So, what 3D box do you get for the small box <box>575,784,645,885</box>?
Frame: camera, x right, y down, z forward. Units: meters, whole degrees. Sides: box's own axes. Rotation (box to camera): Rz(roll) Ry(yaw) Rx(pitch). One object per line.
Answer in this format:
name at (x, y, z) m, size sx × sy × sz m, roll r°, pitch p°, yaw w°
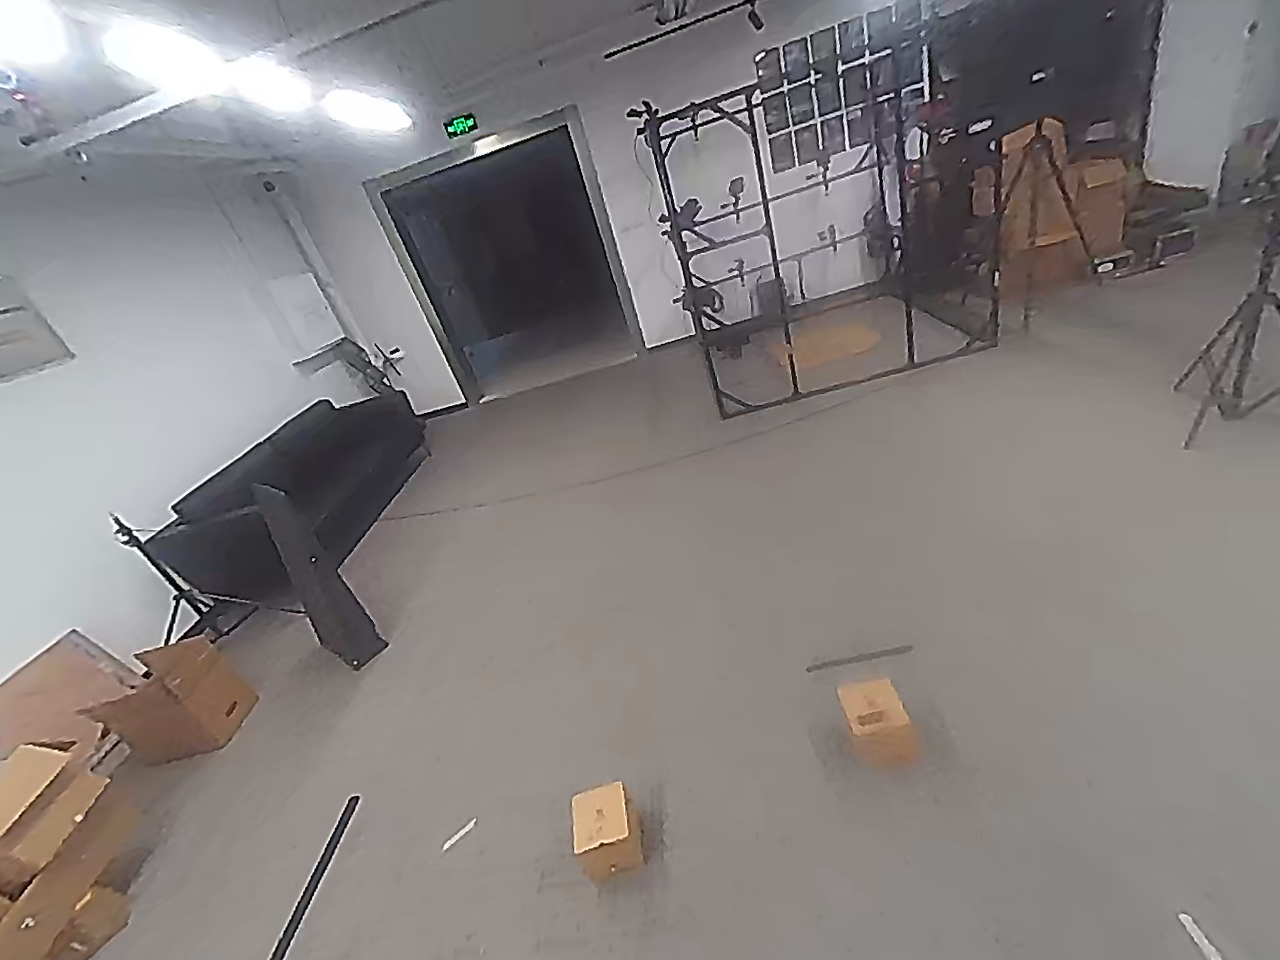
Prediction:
small box at (-0.093, 1.070, 1.635) m, size 0.168 × 0.176 × 0.179 m, roll -19°, pitch 27°, yaw 0°
